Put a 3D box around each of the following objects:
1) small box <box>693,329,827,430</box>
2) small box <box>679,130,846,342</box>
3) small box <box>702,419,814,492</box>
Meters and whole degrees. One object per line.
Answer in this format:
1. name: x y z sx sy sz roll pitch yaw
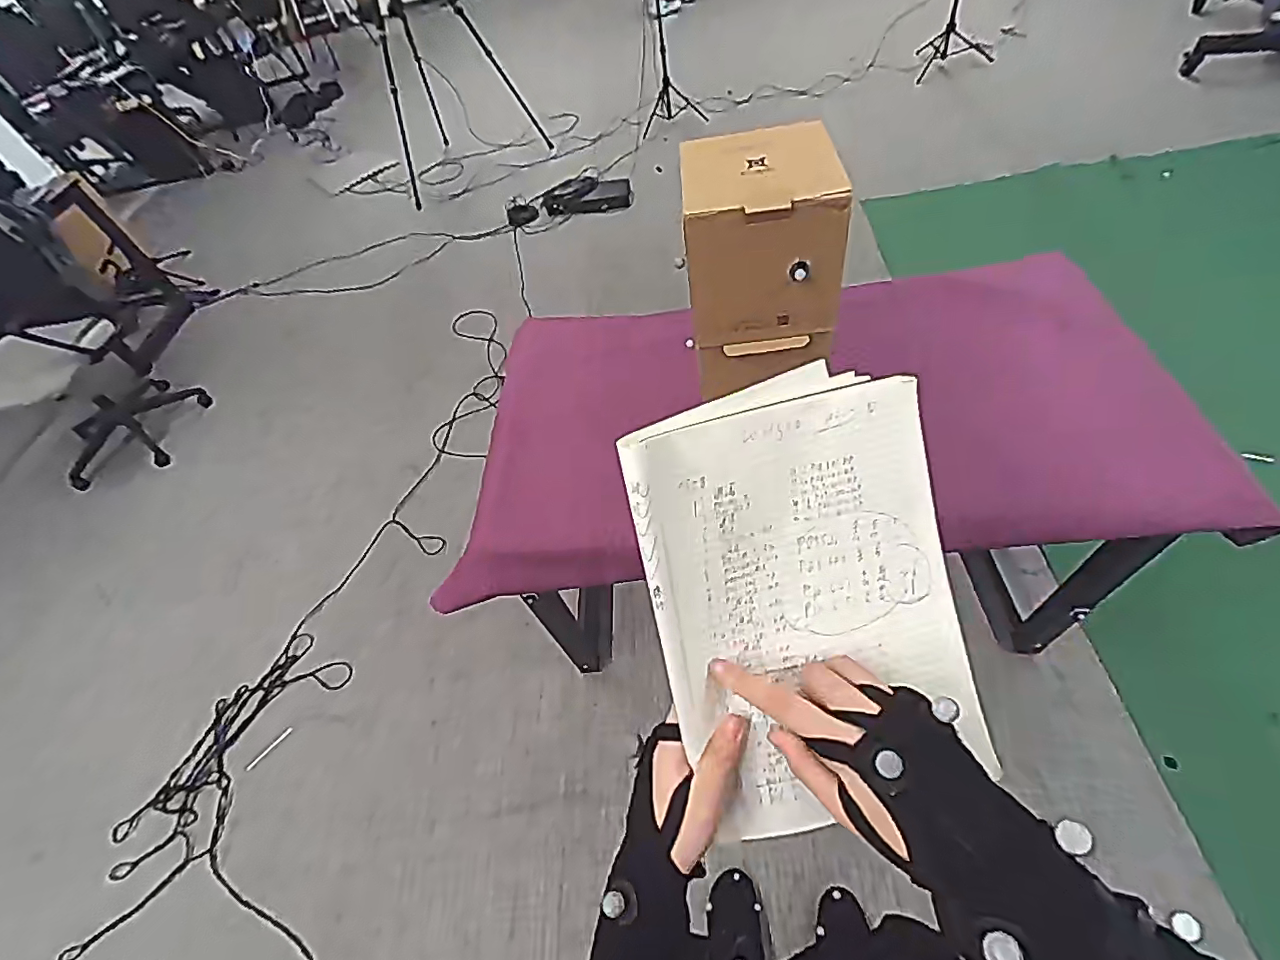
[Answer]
1. small box: 0.164 -0.186 0.777 0.168 0.176 0.179 -5 51 8
2. small box: 0.137 -0.280 0.646 0.168 0.176 0.179 -4 52 8
3. small box: 0.190 -0.092 0.910 0.168 0.176 0.179 -5 53 7
